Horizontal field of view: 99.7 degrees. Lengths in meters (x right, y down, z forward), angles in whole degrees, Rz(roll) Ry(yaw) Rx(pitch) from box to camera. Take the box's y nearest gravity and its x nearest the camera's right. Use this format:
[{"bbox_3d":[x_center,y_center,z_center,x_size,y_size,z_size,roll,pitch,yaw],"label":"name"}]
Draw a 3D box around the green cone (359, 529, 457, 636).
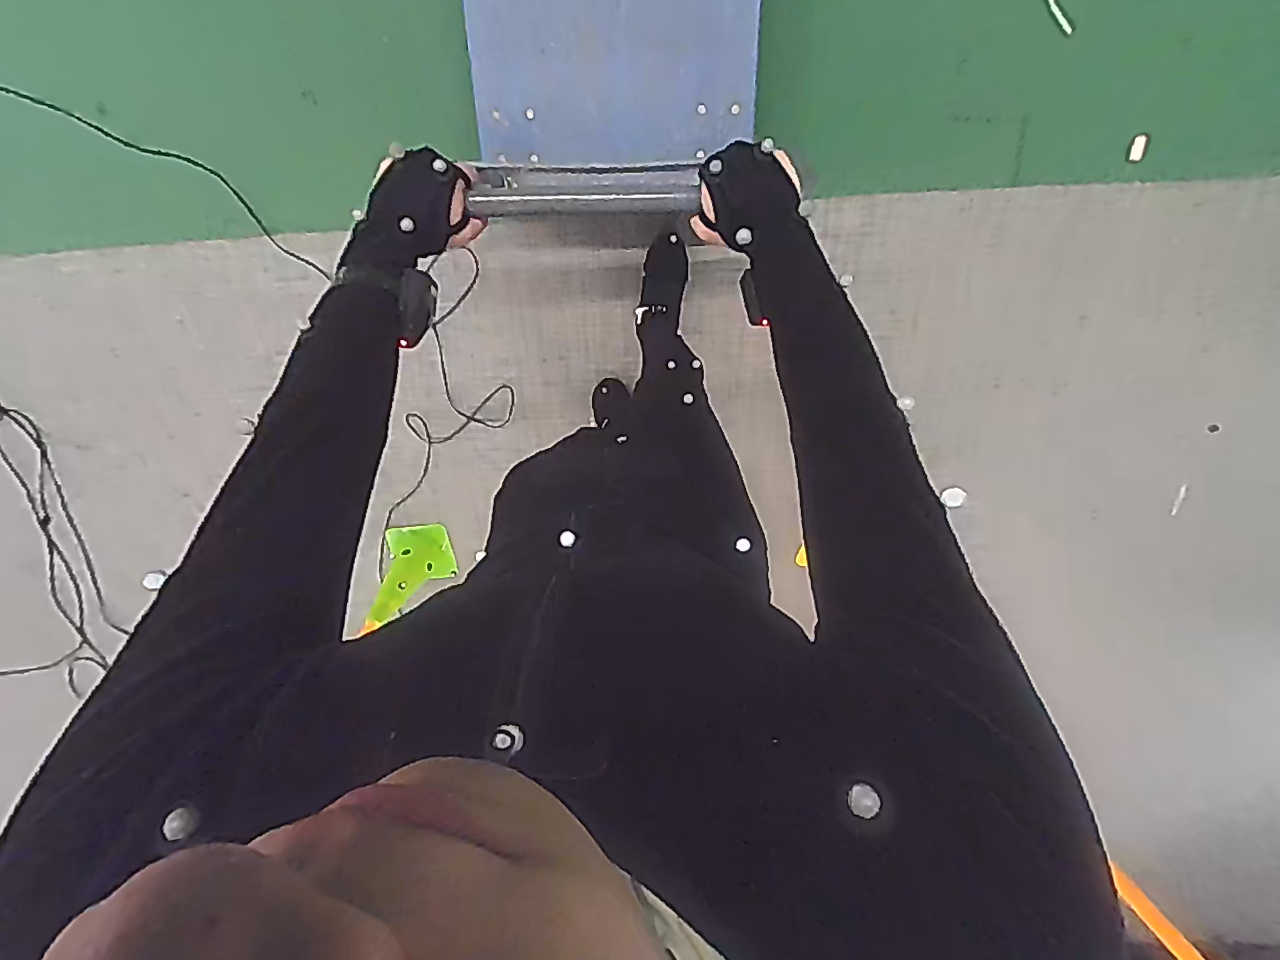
[{"bbox_3d":[-0.717,0.321,1.597,0.202,0.368,0.200,-6,114,5],"label":"green cone"}]
